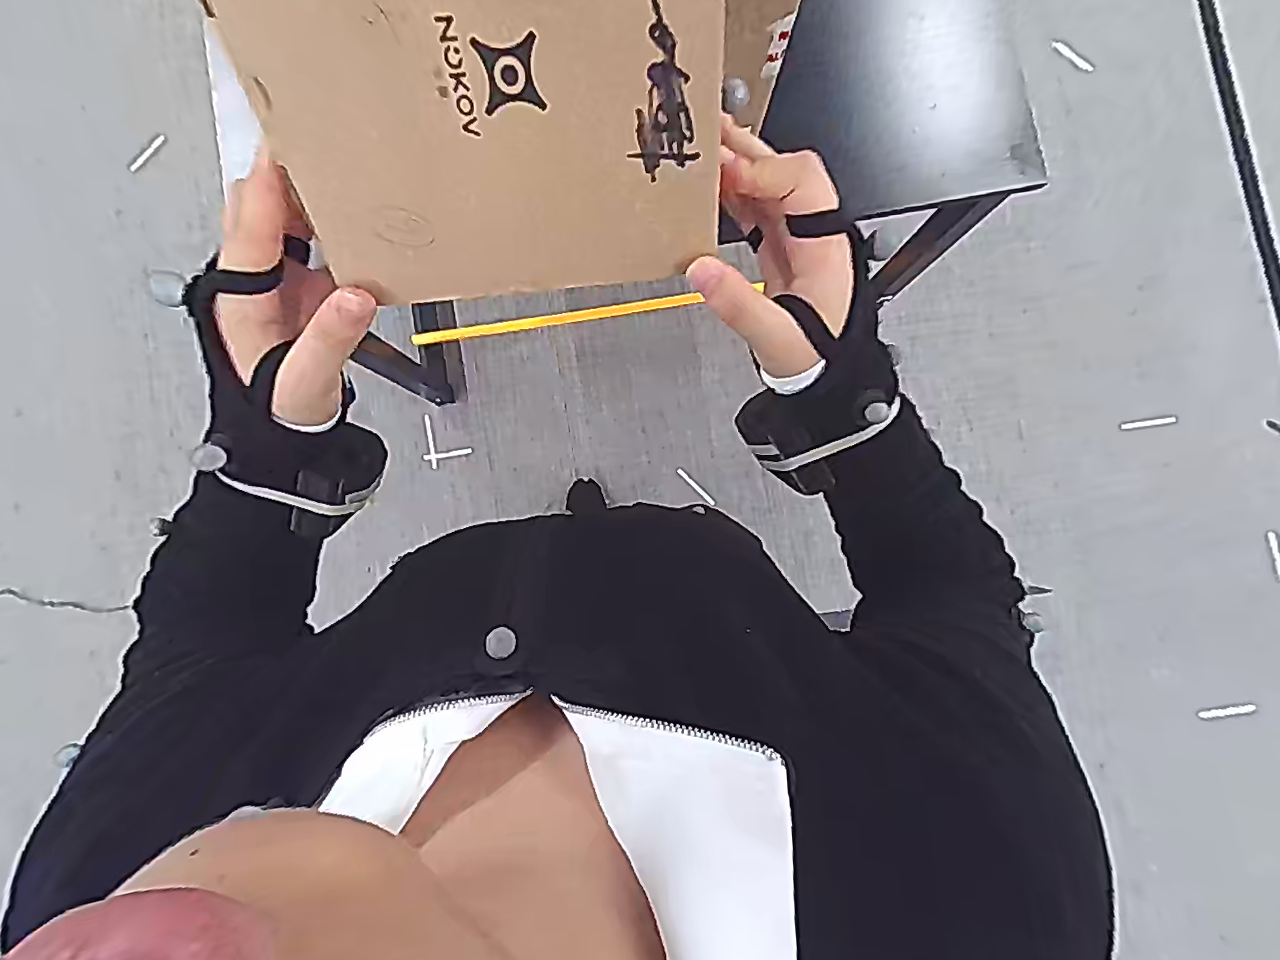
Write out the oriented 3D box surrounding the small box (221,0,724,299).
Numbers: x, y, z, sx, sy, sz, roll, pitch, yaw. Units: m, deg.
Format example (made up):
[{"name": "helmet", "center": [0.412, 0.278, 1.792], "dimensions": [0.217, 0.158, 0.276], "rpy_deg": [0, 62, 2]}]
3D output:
[{"name": "small box", "center": [-0.059, -0.204, 0.261], "dimensions": [0.179, 0.176, 0.168], "rpy_deg": [-5, 132, 0]}]
